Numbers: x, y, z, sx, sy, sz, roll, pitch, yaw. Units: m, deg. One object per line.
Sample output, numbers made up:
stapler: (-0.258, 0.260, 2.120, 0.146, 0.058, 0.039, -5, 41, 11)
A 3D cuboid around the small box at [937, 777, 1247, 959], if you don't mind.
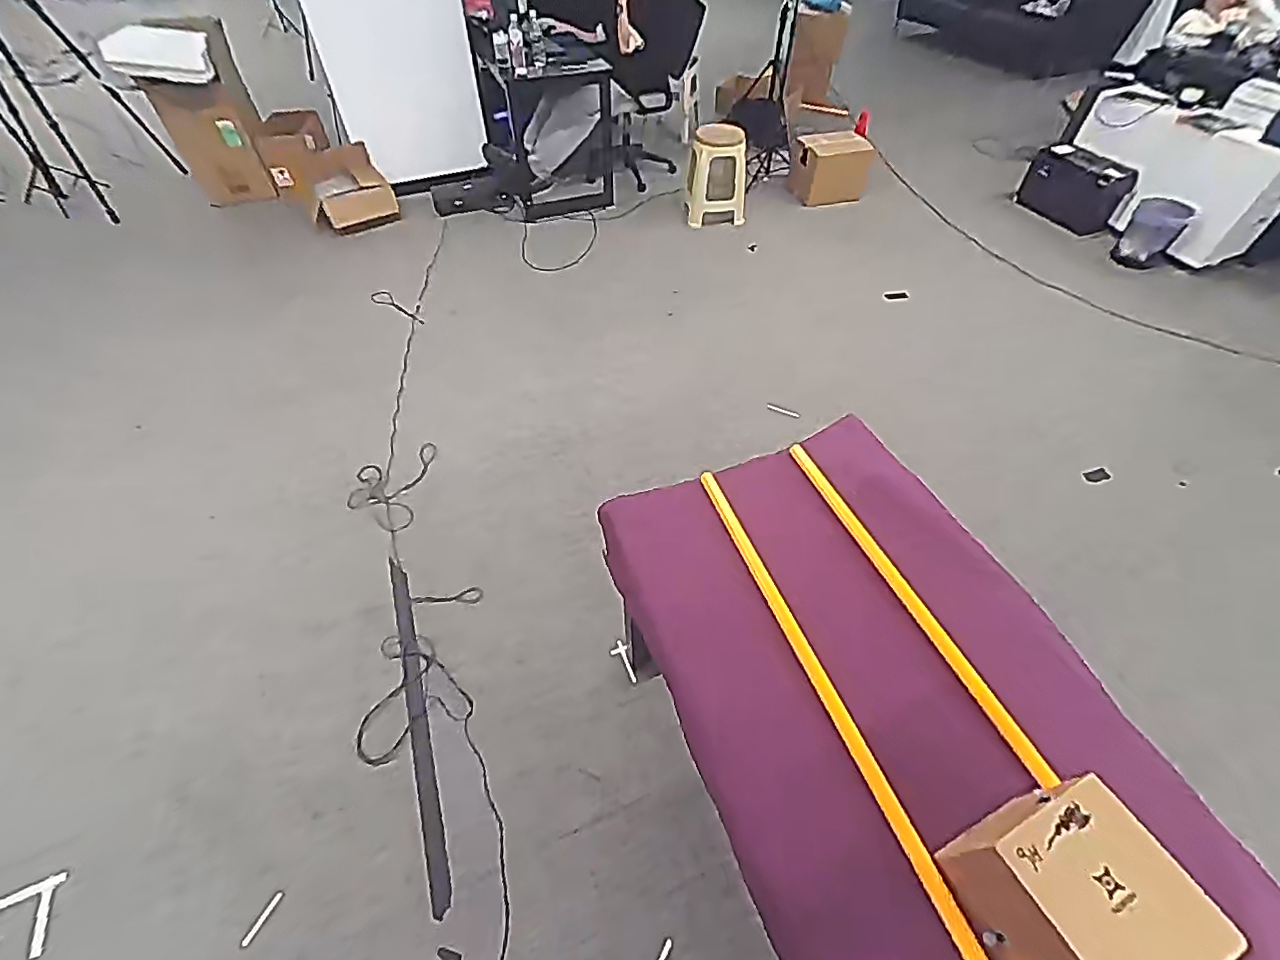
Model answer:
small box: (0.494, 0.481, 0.625, 0.168, 0.176, 0.179, -20, 54, -15)
